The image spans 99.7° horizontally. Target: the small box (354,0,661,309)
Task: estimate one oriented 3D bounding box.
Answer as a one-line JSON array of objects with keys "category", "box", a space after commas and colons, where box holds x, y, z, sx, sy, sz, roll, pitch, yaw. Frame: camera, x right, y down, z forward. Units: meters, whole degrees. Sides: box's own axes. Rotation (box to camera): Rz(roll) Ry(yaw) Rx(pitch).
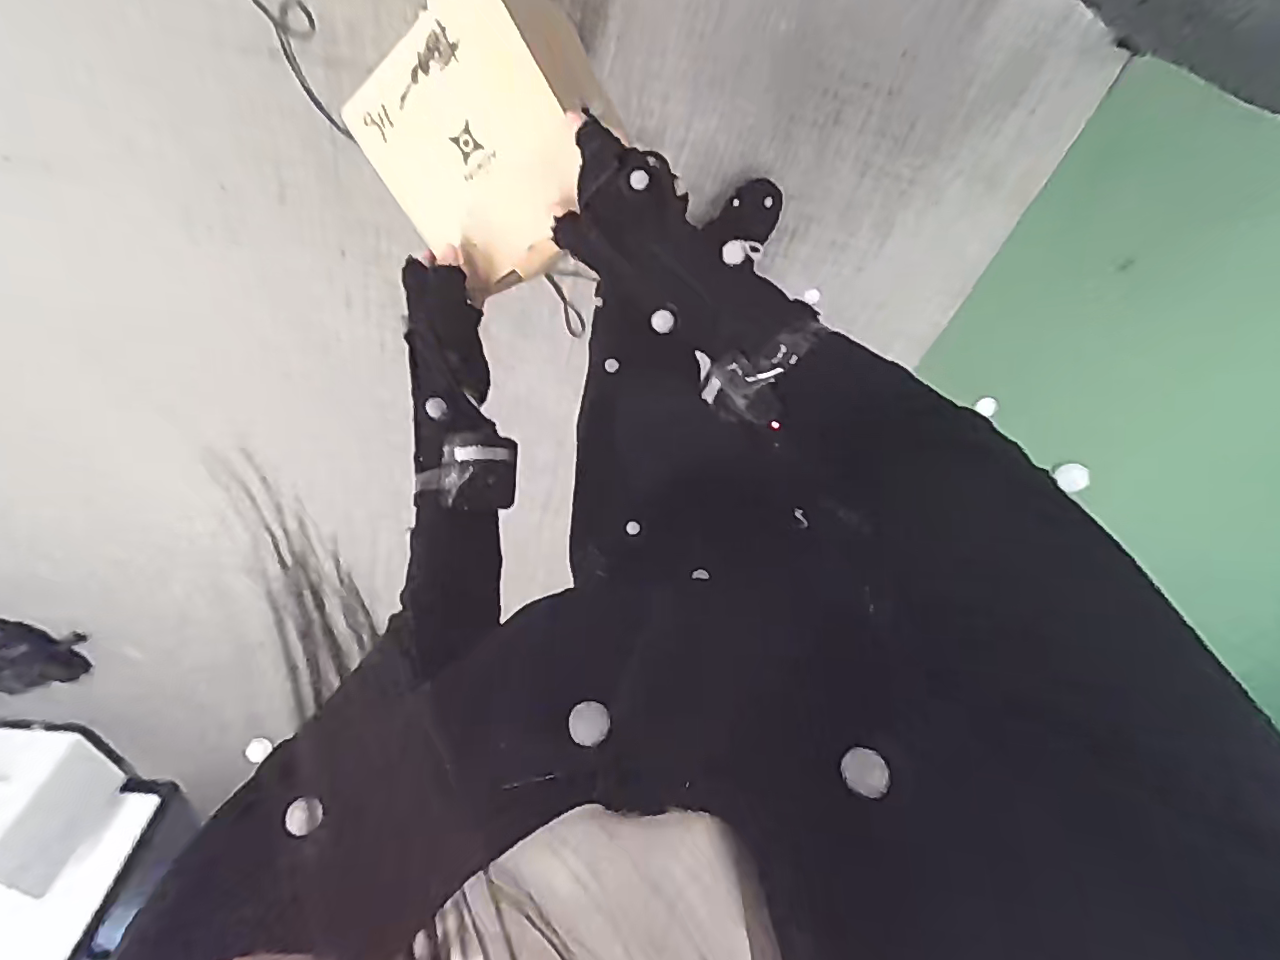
[{"category": "small box", "box": [-0.103, -0.291, 0.494, 0.168, 0.176, 0.179, -26, 108, 29]}]
